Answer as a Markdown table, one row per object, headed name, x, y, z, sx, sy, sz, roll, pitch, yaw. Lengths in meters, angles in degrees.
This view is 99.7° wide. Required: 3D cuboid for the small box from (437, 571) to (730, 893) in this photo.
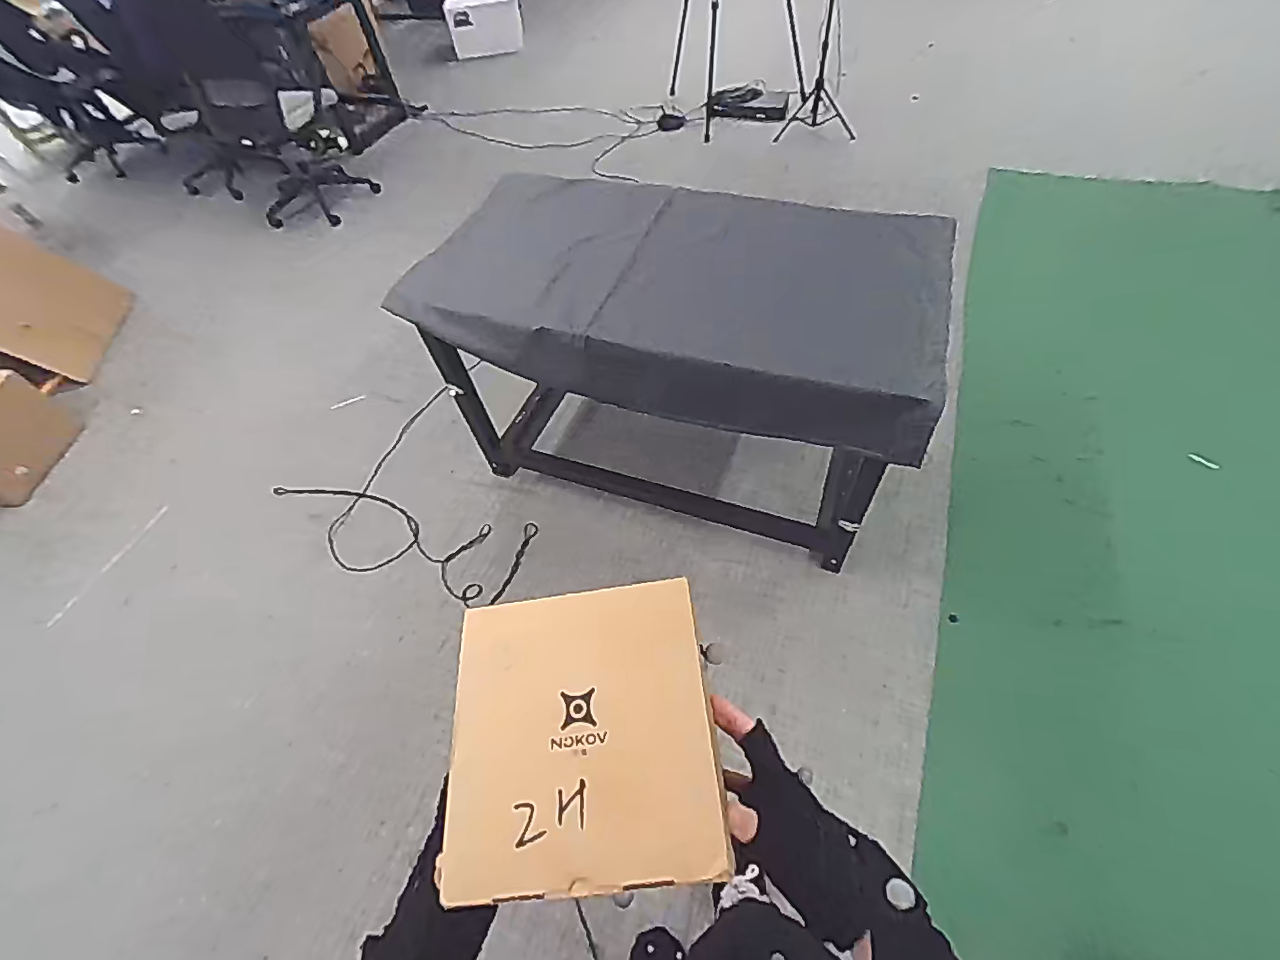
| name | x | y | z | sx | sy | sz | roll | pitch | yaw |
| --- | --- | --- | --- | --- | --- | --- | --- | --- | --- |
| small box | -0.028 | 0.190 | 0.407 | 0.168 | 0.176 | 0.179 | -10 | 57 | 6 |
